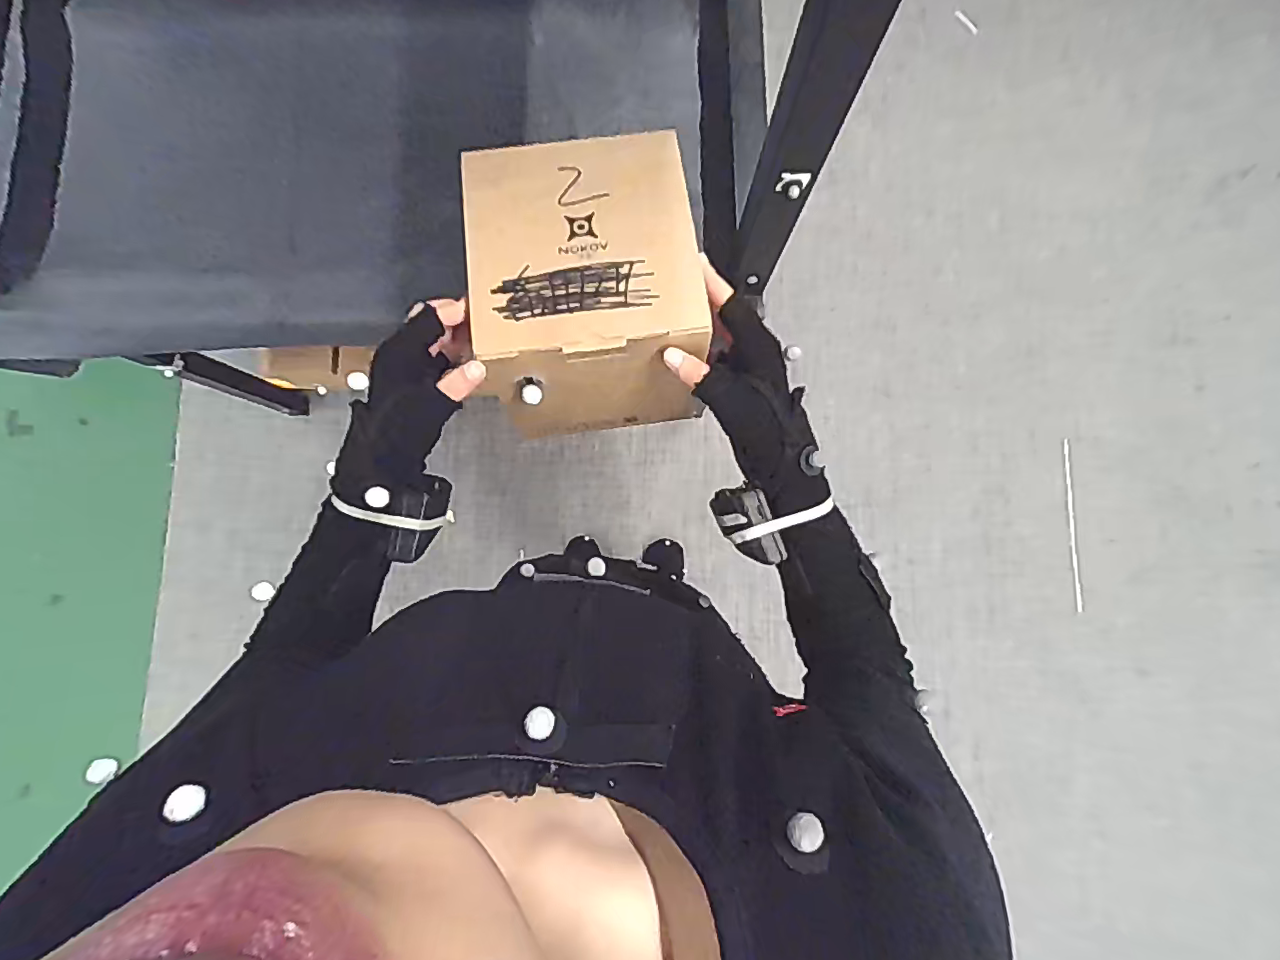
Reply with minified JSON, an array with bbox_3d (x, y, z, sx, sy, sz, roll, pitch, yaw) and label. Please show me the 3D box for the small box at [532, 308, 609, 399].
[{"bbox_3d":[-0.170,-0.316,1.376,0.168,0.176,0.179,5,86,2],"label":"small box"}]
